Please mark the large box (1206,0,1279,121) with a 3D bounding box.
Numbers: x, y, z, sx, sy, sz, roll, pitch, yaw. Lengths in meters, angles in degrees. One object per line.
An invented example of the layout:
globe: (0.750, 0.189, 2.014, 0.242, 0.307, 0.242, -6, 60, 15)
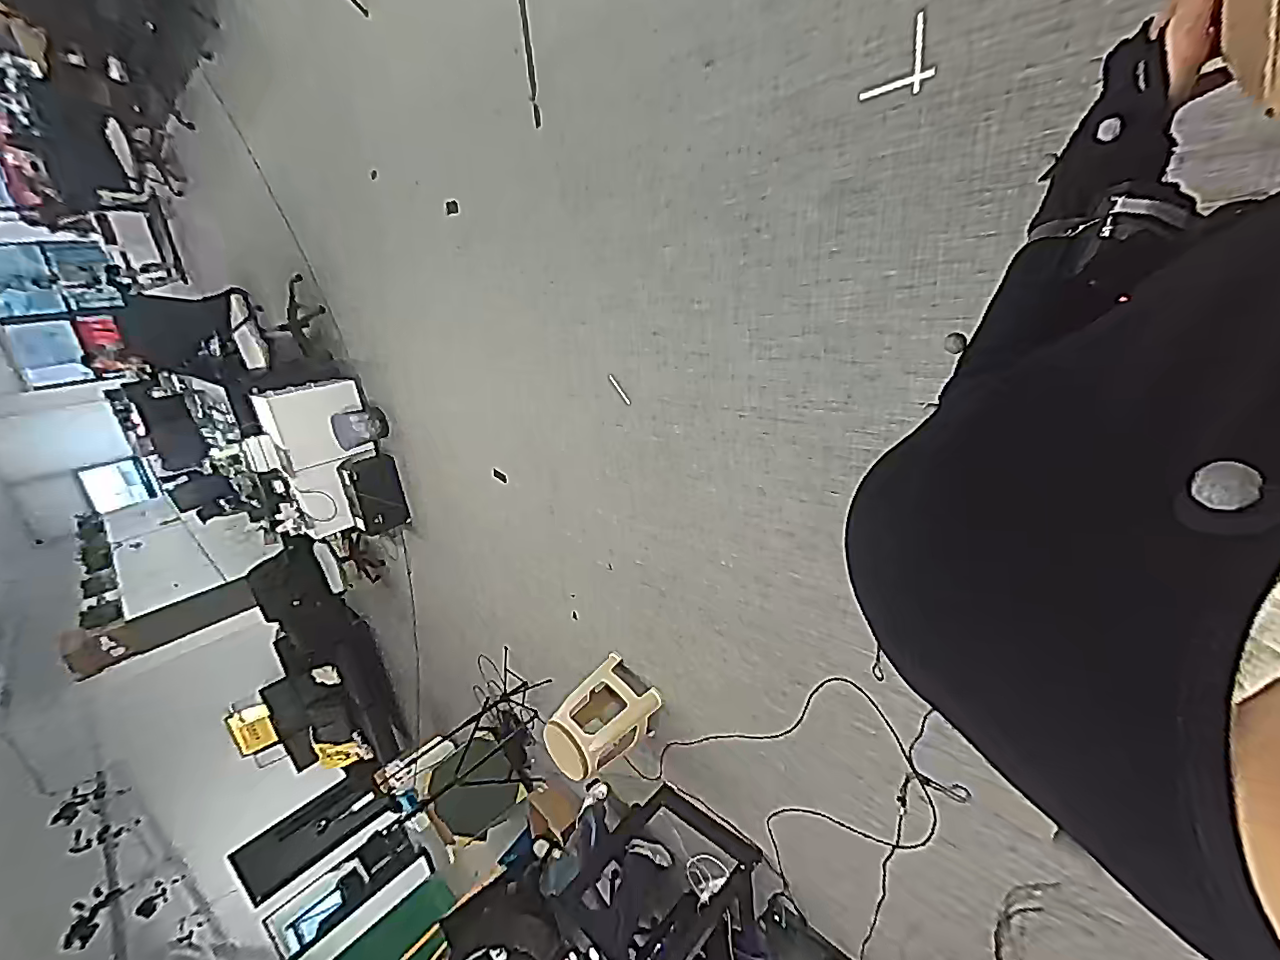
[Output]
large box: (0.422, -0.356, 0.118, 0.408, 0.320, 0.320, 0, 125, 43)
